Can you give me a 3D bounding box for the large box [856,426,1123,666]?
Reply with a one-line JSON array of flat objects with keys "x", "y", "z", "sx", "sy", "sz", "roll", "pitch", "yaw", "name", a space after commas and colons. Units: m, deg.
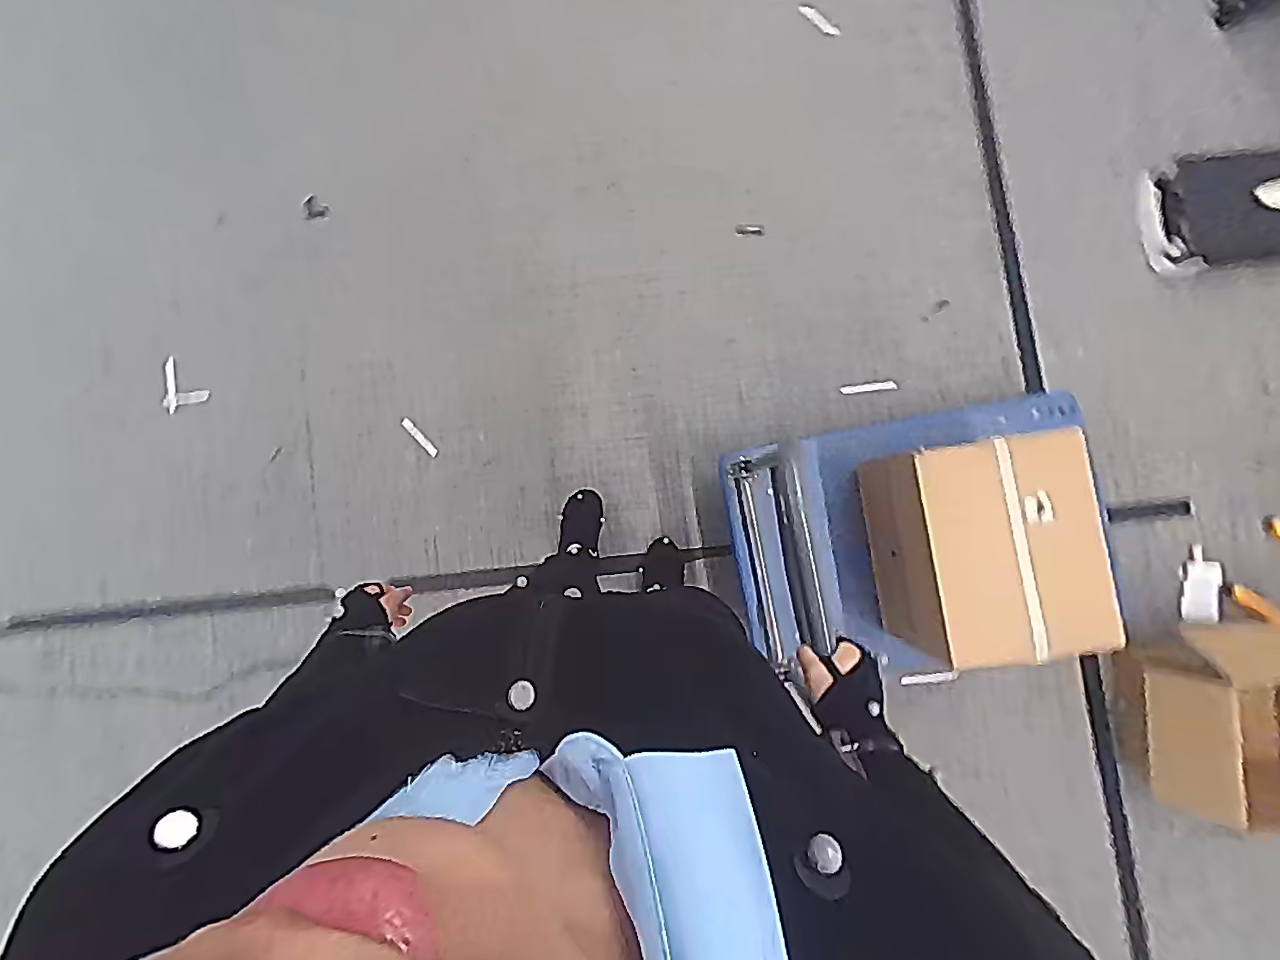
[{"x": 0.685, "y": 0.129, "z": 1.127, "sx": 0.320, "sy": 0.320, "sz": 0.408, "roll": -9, "pitch": 86, "yaw": 1, "name": "large box"}]
